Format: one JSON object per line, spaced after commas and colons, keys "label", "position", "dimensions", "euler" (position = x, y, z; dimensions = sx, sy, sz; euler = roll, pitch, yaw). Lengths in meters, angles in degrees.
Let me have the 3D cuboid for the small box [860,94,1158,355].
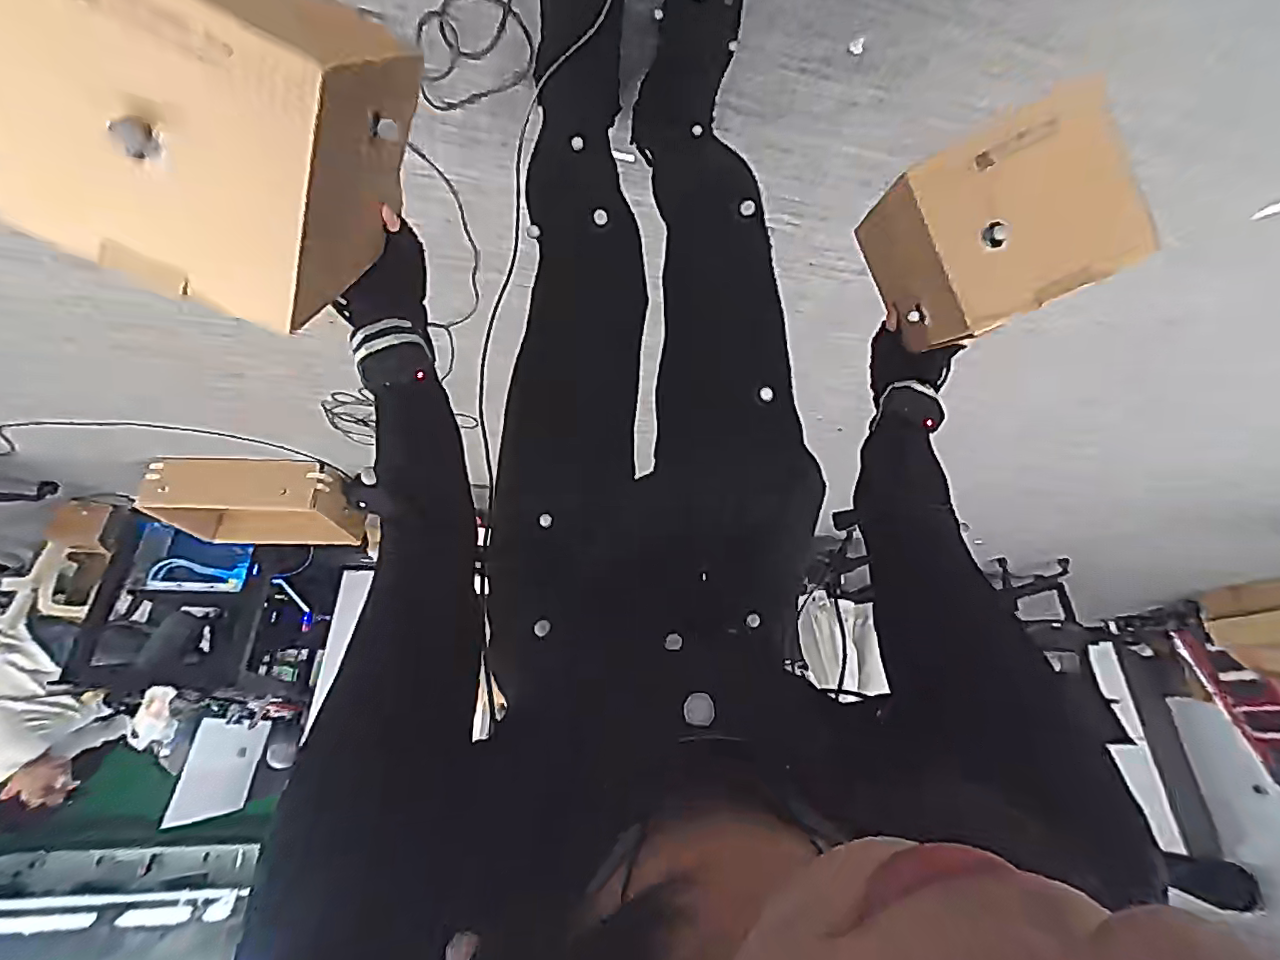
{"label": "small box", "position": [0.351, -0.248, 0.554], "dimensions": [0.168, 0.176, 0.179], "euler": [-22, -175, 8]}
